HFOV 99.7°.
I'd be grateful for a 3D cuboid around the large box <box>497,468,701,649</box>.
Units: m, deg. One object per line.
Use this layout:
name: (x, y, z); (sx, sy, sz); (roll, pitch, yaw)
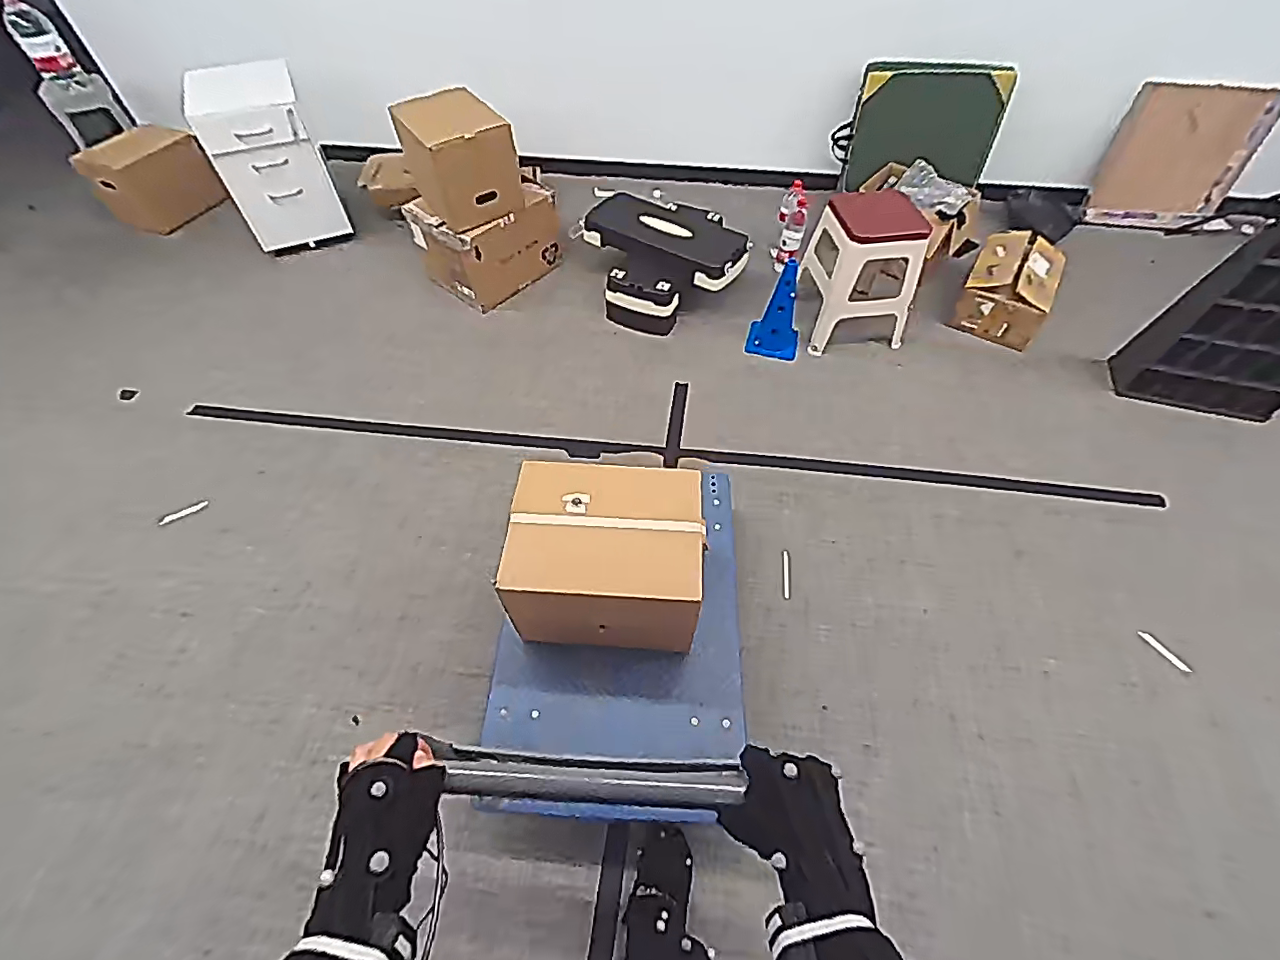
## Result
large box: (-0.072, 0.190, 1.253); (0.408, 0.320, 0.320); (3, 55, 2)
